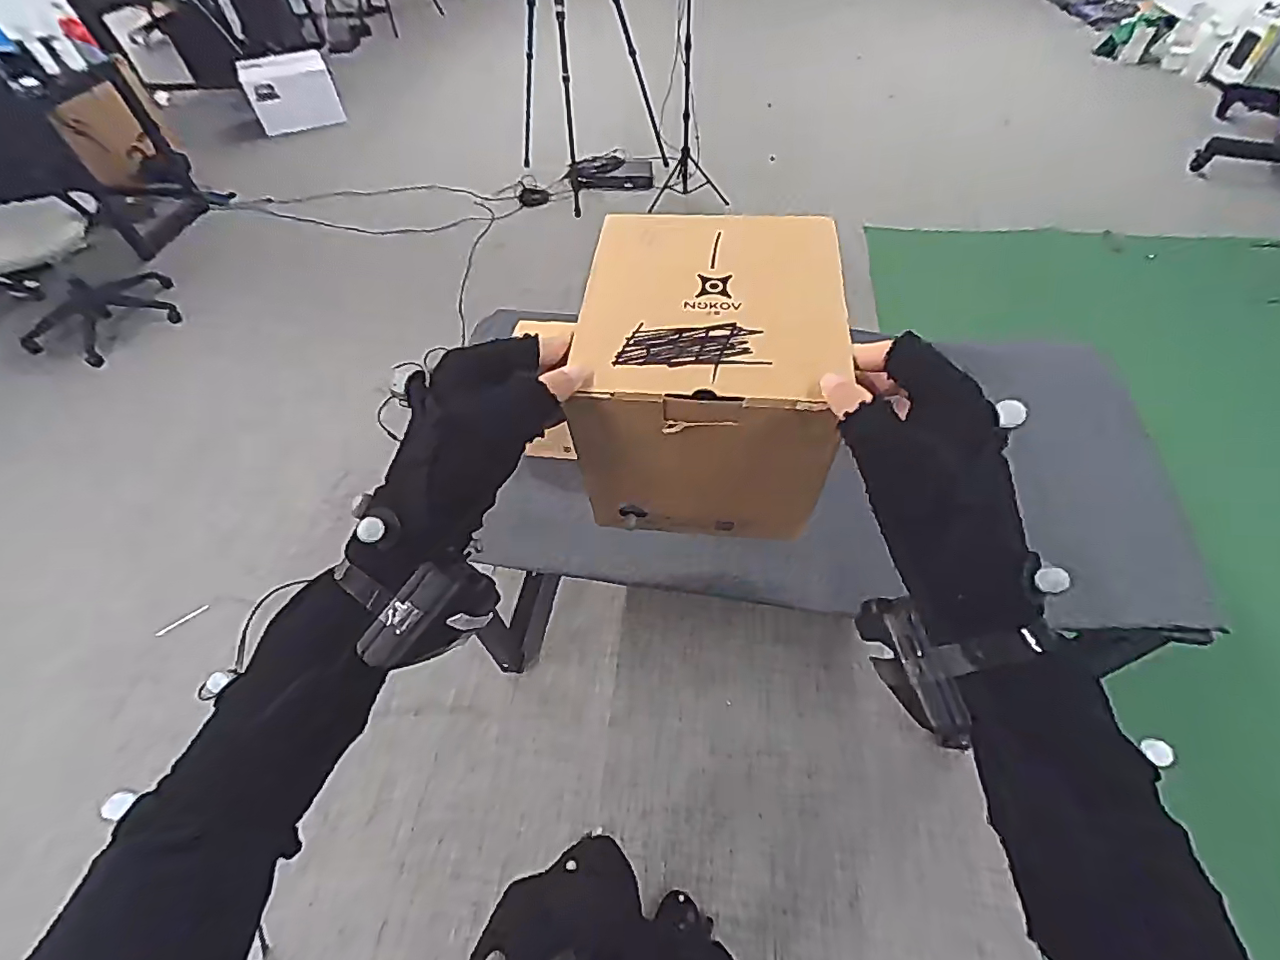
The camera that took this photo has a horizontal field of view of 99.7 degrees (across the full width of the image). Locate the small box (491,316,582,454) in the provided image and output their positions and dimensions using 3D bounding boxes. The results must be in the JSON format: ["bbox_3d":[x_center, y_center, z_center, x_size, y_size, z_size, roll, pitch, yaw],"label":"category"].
[{"bbox_3d":[-0.137,-0.161,0.938,0.168,0.176,0.179,4,52,6],"label":"small box"}]

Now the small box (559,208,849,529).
[{"bbox_3d":[0.050,-0.077,0.409,0.168,0.176,0.179,4,58,7],"label":"small box"}]
